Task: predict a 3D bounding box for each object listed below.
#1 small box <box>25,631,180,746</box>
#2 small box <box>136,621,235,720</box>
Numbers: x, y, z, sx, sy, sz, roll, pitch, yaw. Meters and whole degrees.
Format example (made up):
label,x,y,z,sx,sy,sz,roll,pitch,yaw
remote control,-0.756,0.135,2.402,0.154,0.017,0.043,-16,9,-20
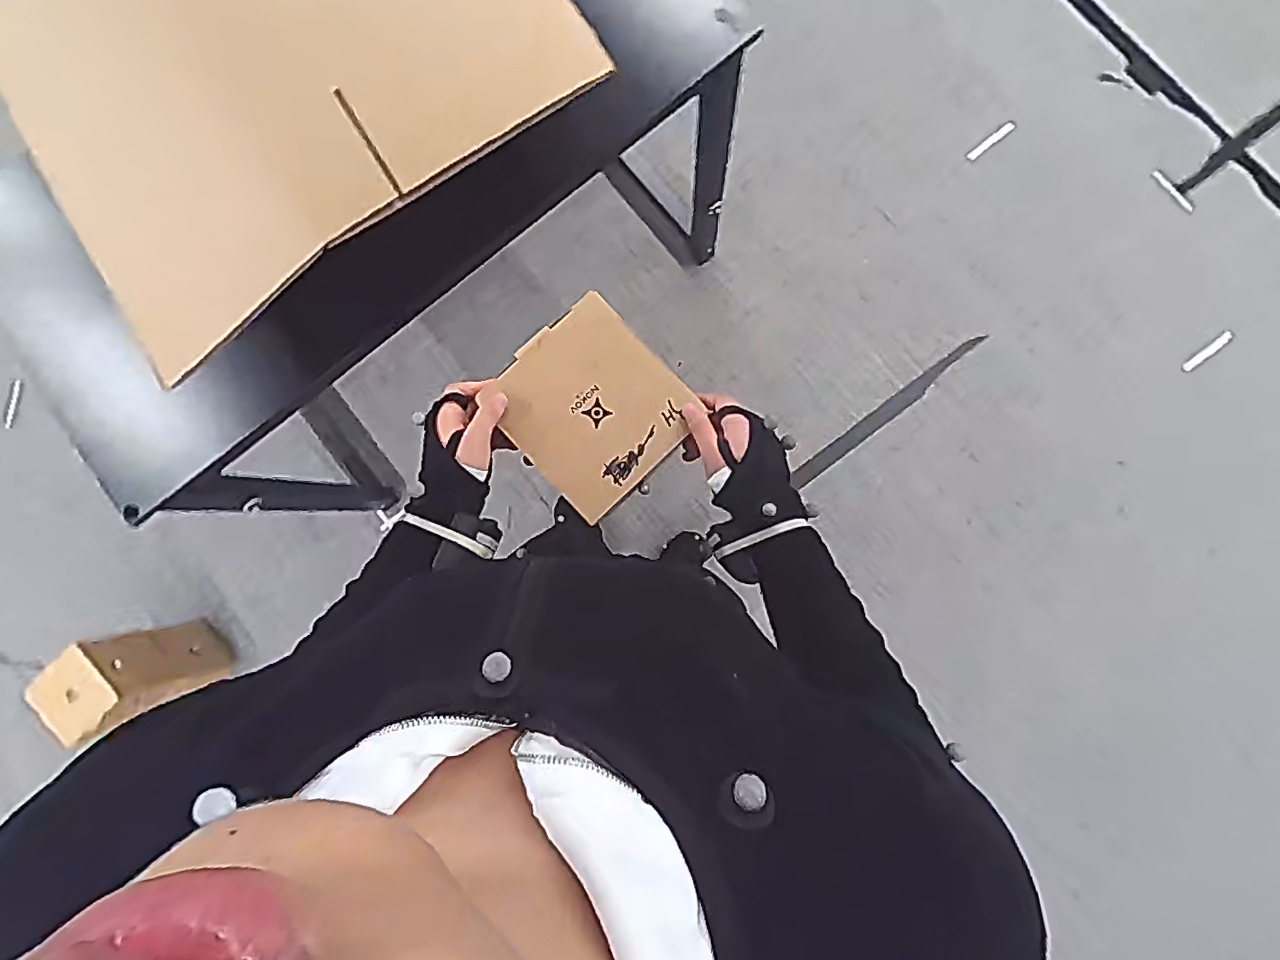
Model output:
label,x,y,z,sx,sy,sz,roll,pitch,yaw
small box,-1.284,0.490,1.306,0.168,0.176,0.179,-45,84,-1
small box,-1.269,0.504,1.467,0.168,0.176,0.179,-42,86,0
